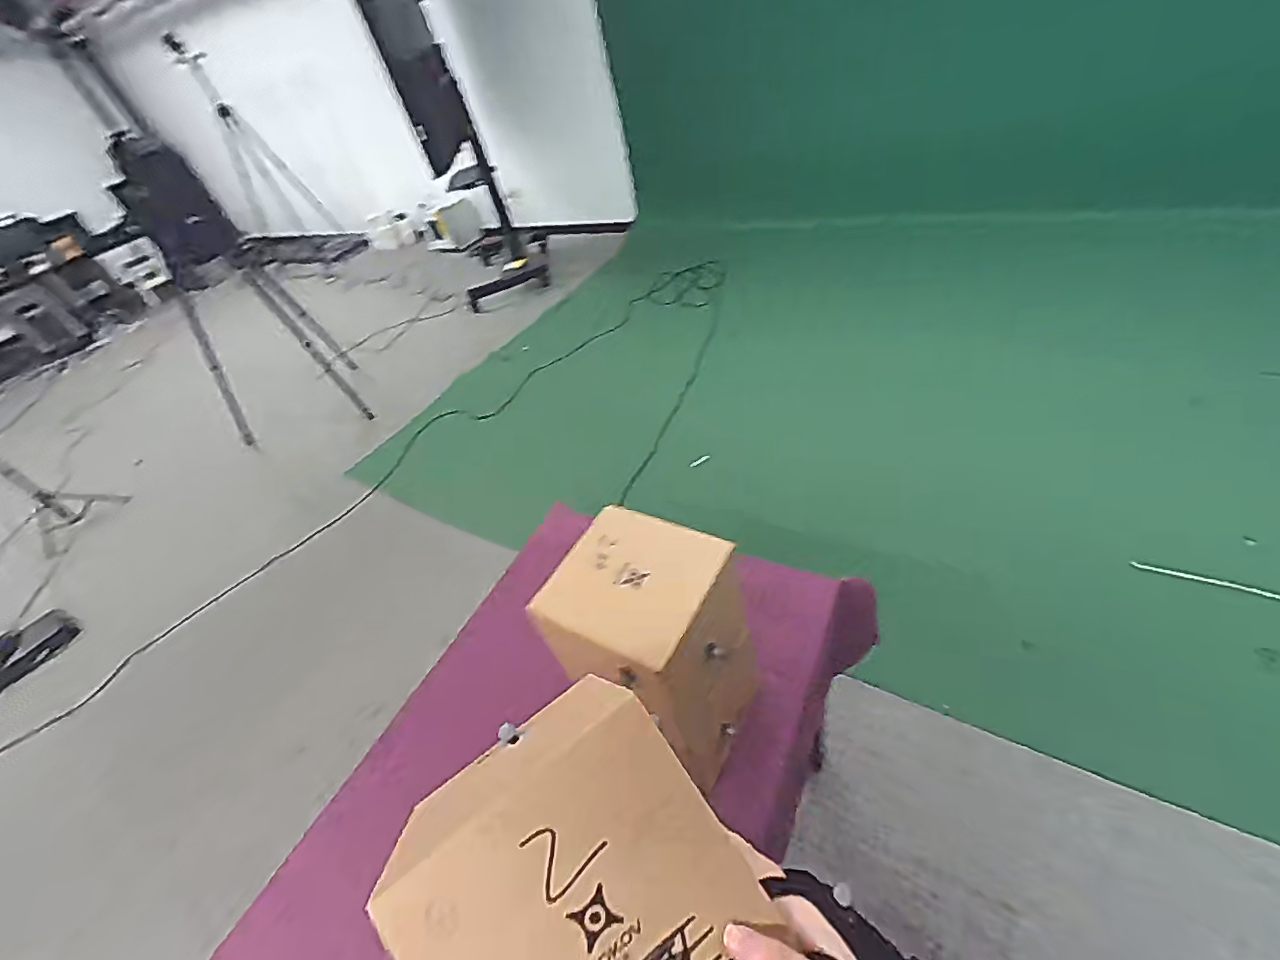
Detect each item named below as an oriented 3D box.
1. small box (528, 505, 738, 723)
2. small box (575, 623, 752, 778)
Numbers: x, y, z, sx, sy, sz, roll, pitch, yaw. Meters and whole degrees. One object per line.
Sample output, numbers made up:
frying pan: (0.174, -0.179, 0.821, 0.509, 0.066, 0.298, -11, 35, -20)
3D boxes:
small box: (0.005, 0.162, 0.649, 0.179, 0.176, 0.168, 15, 50, 31)
small box: (0.041, 0.280, 0.758, 0.179, 0.176, 0.168, 16, 52, 31)
